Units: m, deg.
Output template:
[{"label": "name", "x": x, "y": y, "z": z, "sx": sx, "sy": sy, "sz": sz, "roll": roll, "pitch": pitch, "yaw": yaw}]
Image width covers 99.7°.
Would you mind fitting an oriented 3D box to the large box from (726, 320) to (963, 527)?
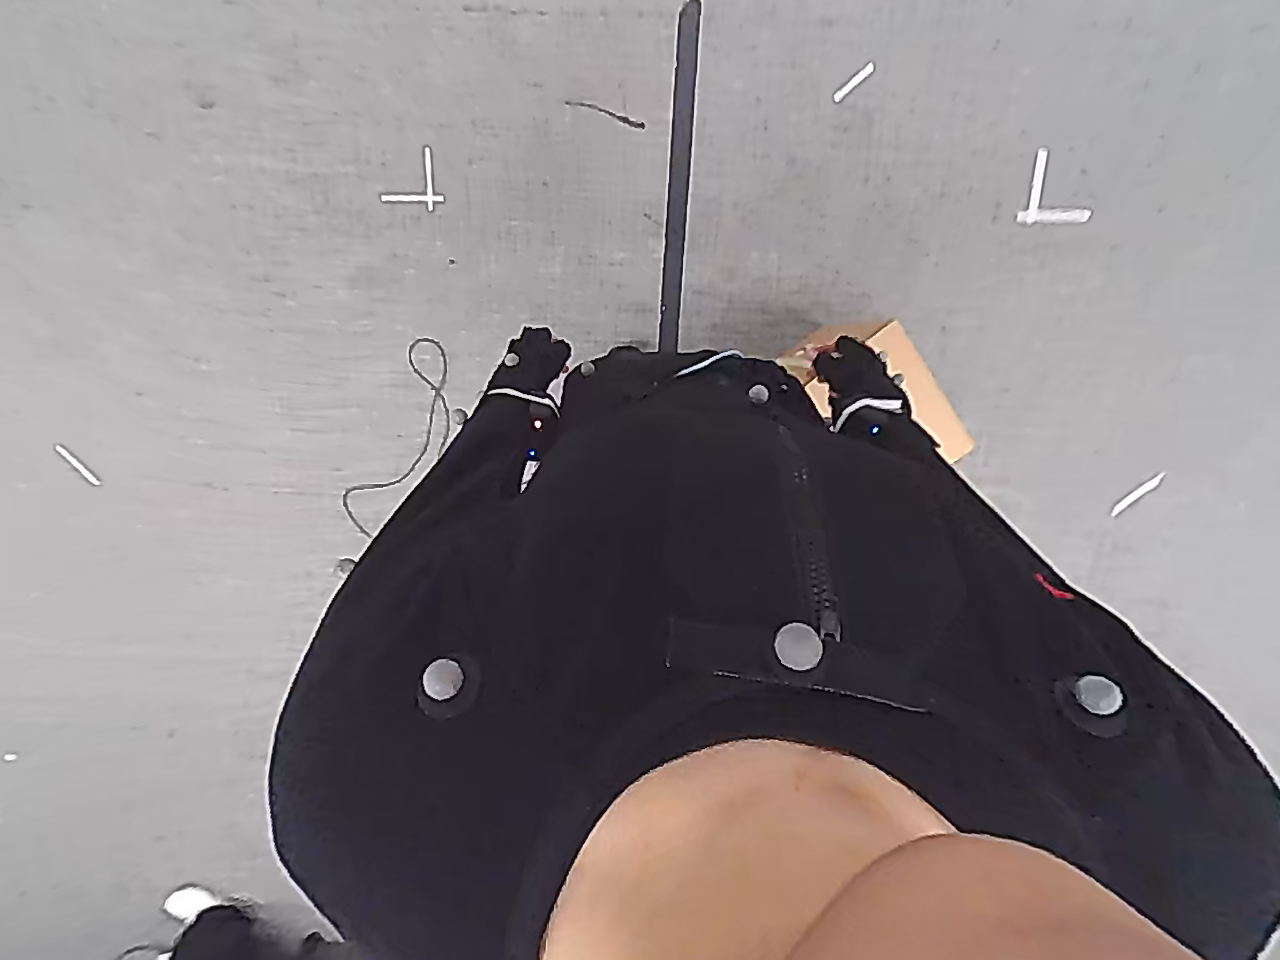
[{"label": "large box", "x": 0.444, "y": -0.143, "z": 1.264, "sx": 0.320, "sy": 0.408, "sz": 0.320, "roll": -36, "pitch": 101, "yaw": 8}]
